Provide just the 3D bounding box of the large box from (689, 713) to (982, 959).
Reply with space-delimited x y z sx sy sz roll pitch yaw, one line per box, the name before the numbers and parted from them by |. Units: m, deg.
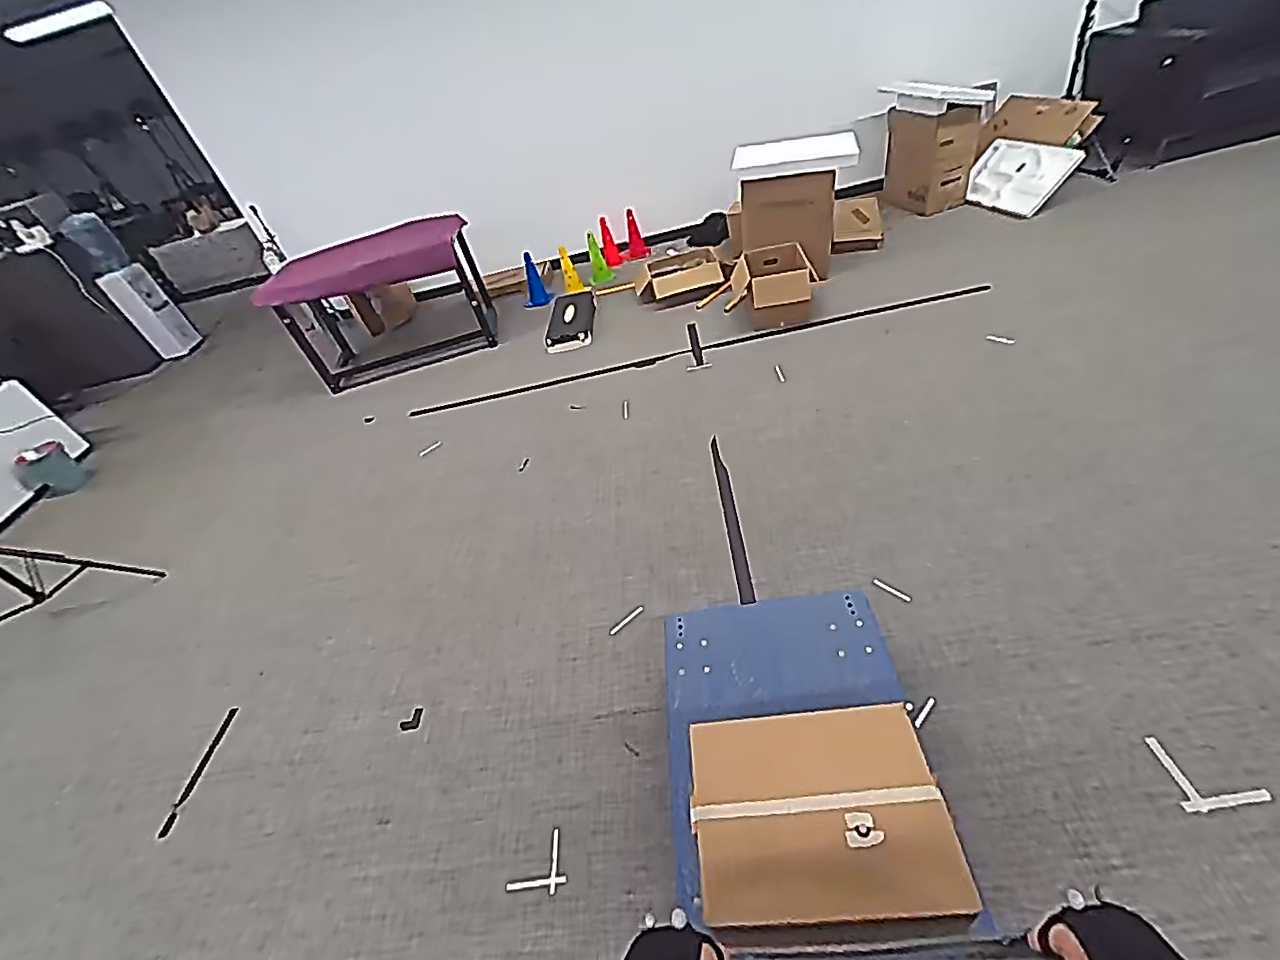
large box | 0.319 0.670 0.992 0.408 0.320 0.320 -9 41 7
